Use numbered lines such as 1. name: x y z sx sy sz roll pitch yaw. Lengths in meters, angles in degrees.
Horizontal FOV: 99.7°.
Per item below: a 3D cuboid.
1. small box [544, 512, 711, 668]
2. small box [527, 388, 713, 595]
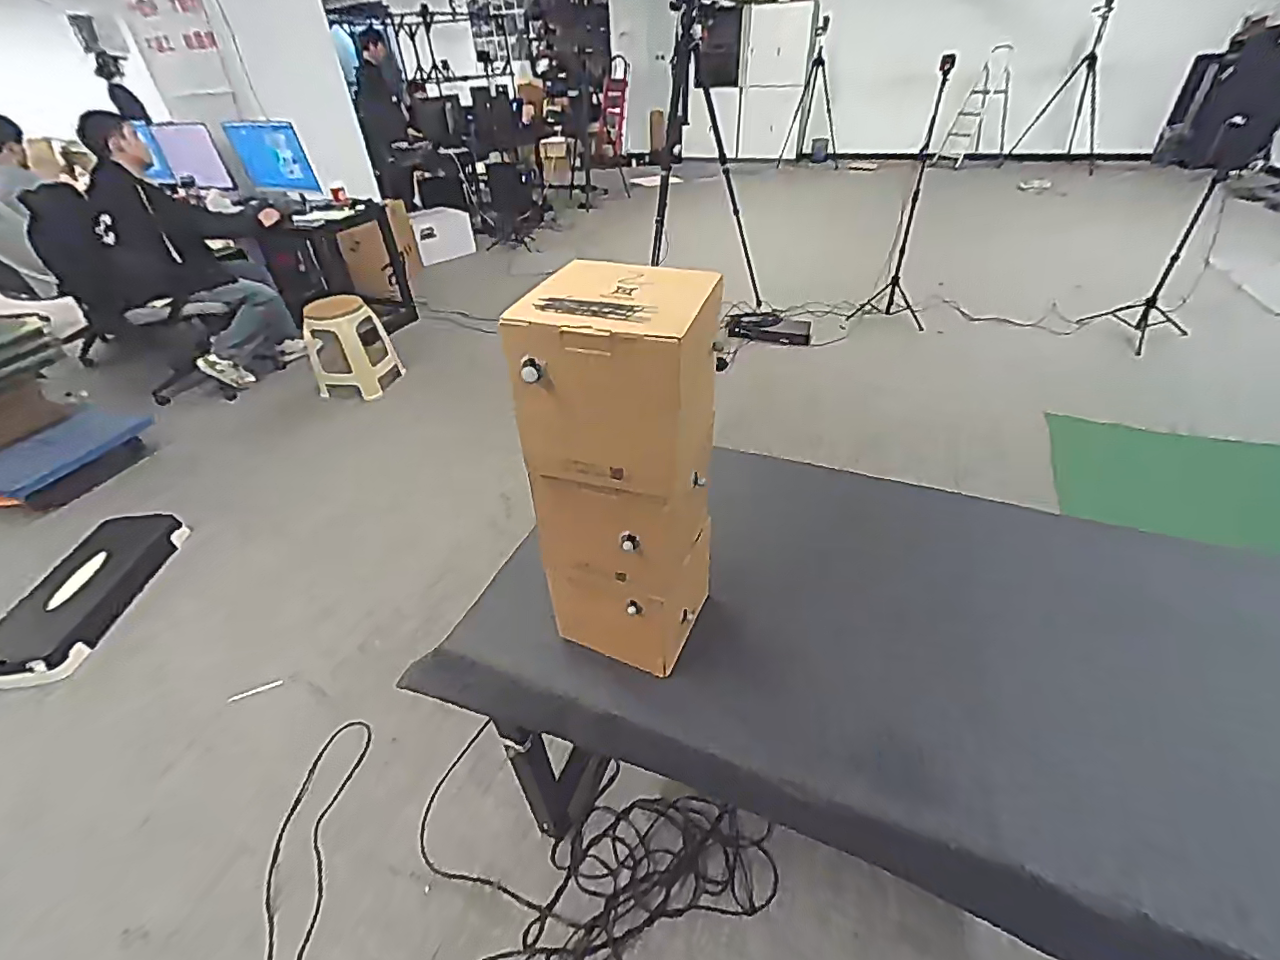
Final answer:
1. small box: -0.012 0.135 0.769 0.179 0.176 0.168 16 41 21
2. small box: -0.014 0.012 0.662 0.168 0.176 0.179 13 39 16
